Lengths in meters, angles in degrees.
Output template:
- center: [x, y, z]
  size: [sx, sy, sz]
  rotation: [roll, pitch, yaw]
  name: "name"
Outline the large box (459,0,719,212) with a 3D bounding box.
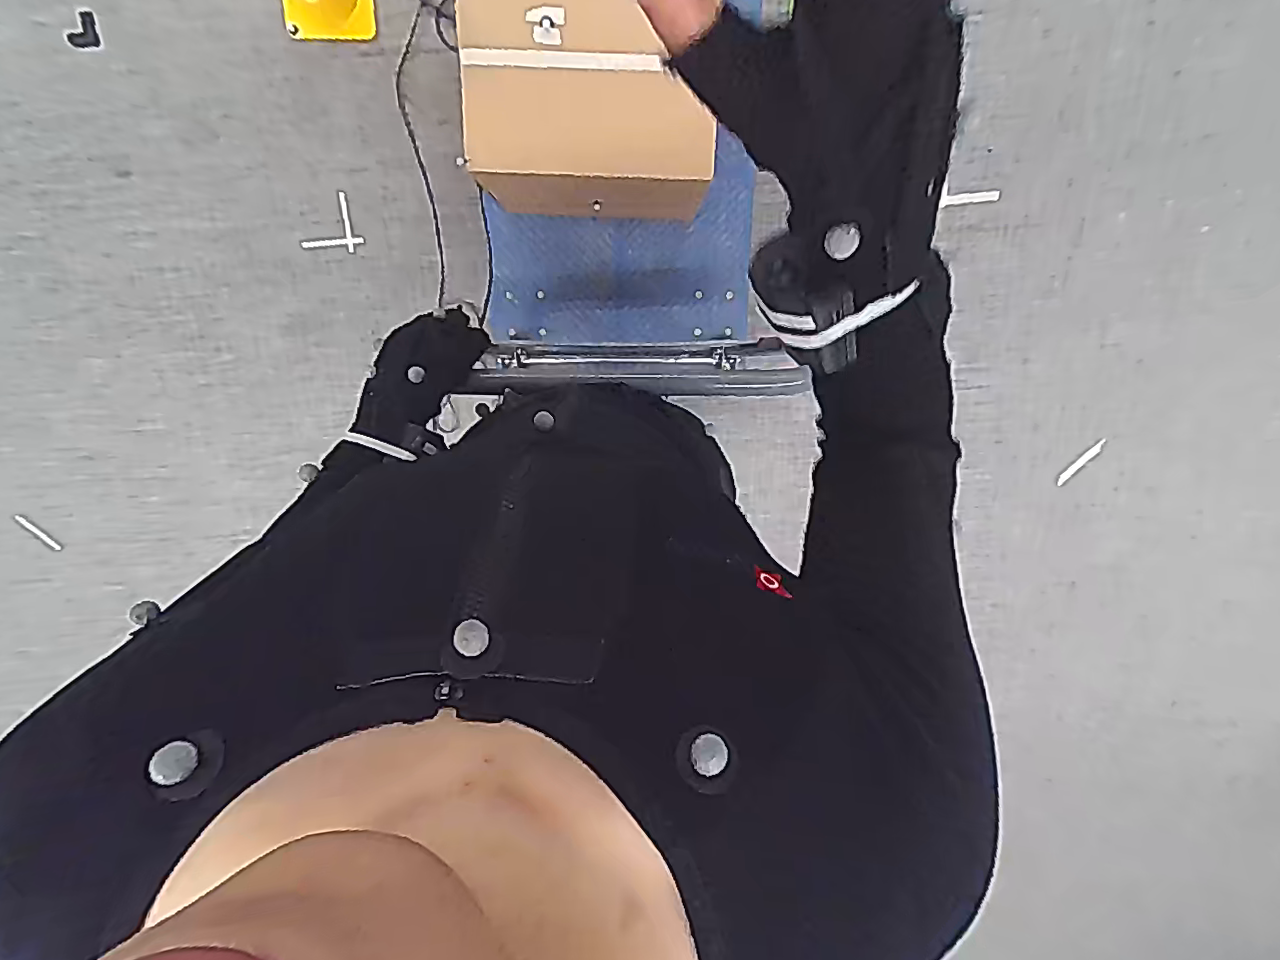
- center: [-0.077, -0.687, 0.987]
  size: [0.408, 0.320, 0.320]
  rotation: [2, 105, 0]
  name: "large box"
